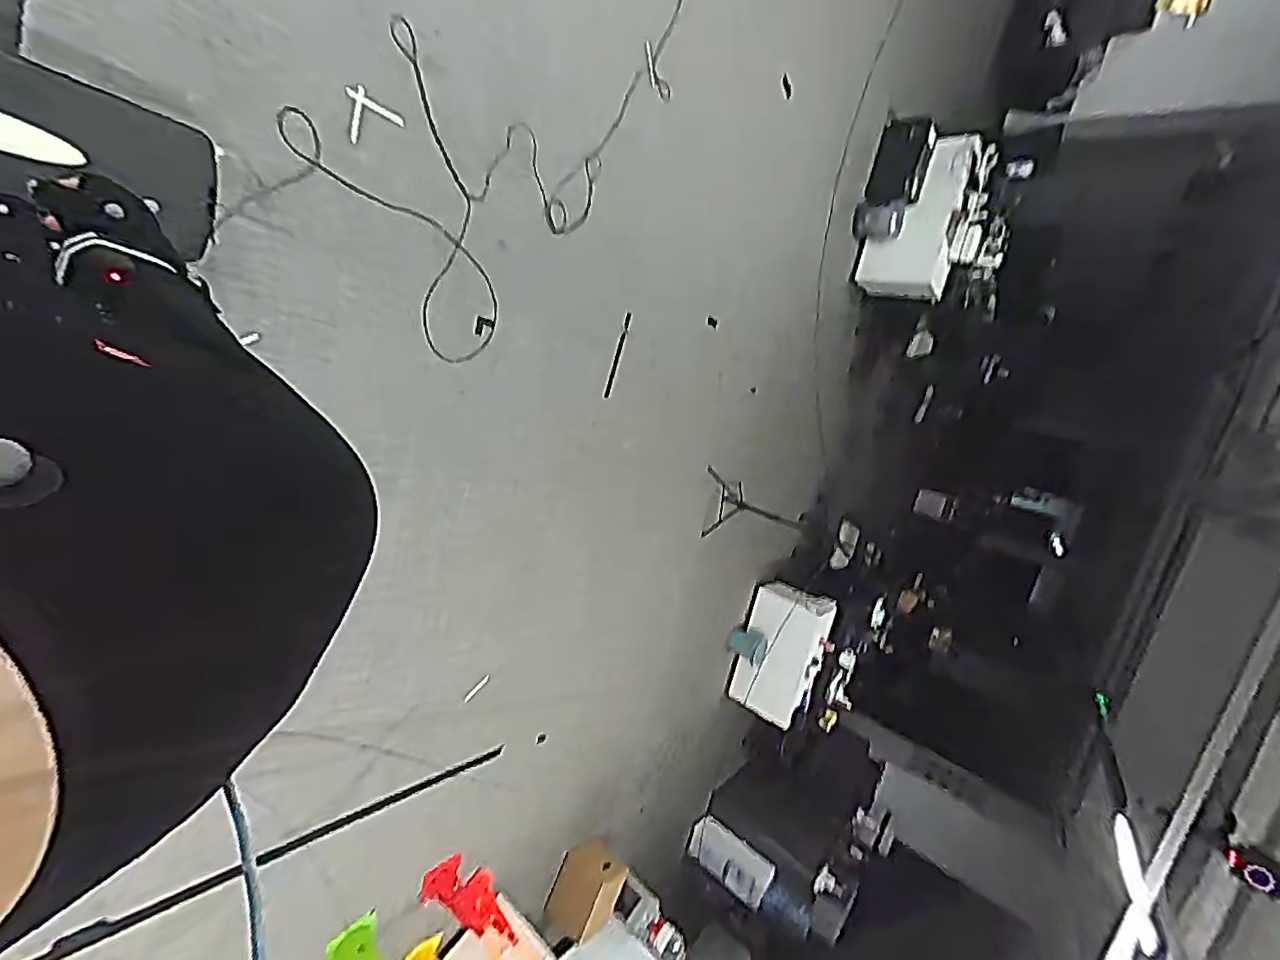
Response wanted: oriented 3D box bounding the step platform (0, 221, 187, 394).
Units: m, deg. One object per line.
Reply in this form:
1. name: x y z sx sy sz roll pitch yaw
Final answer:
1. step platform: -1.245 -0.341 0.955 0.684 0.204 0.286 2 106 -52
